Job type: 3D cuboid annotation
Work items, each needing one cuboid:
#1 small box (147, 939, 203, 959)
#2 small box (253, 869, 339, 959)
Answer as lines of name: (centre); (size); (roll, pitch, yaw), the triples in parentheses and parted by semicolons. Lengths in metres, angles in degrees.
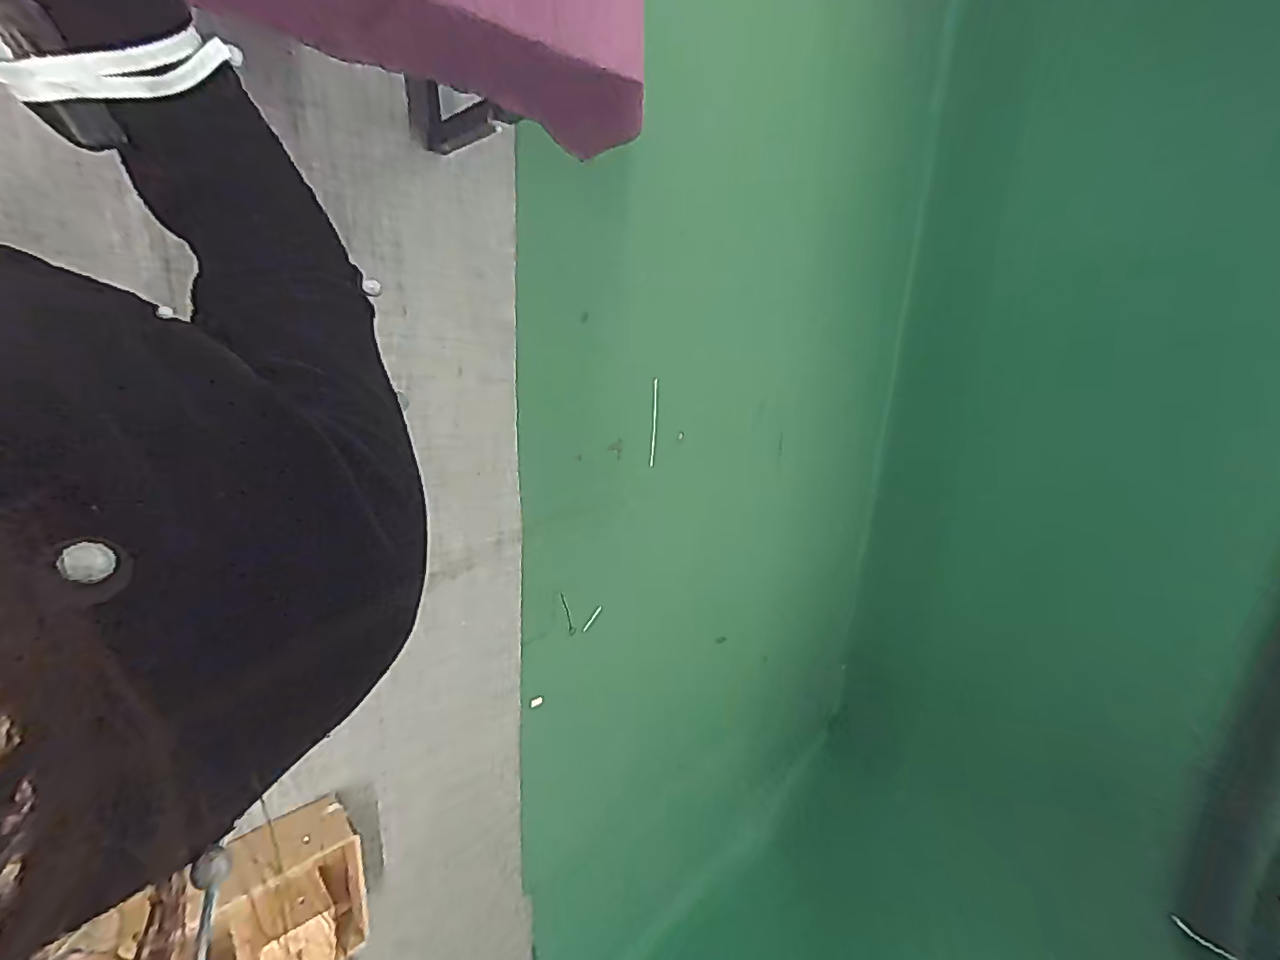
small box: (-1.122, 1.240, 1.267); (0.168, 0.176, 0.179); (-12, 110, -43)
small box: (-0.929, 1.201, 1.458); (0.168, 0.176, 0.179); (-6, 107, -44)
